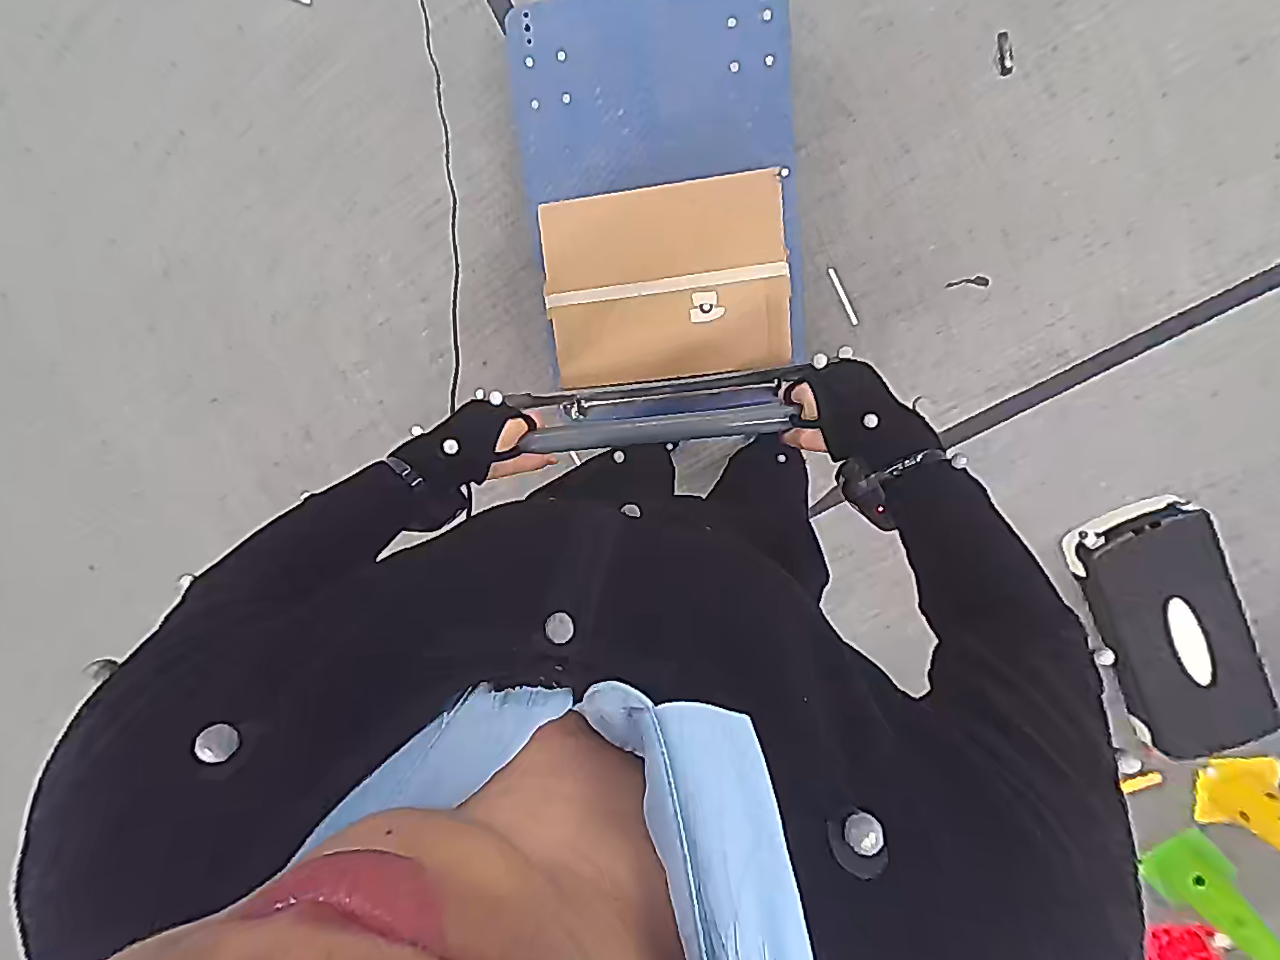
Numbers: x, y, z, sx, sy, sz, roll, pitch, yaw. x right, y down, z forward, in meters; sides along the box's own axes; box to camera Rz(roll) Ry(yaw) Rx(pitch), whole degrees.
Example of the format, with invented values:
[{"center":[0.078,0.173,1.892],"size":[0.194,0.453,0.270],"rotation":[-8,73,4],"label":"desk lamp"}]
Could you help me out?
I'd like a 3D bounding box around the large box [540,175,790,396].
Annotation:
[{"center":[0.056,-0.348,1.061],"size":[0.408,0.320,0.320],"rotation":[-5,101,7],"label":"large box"}]
